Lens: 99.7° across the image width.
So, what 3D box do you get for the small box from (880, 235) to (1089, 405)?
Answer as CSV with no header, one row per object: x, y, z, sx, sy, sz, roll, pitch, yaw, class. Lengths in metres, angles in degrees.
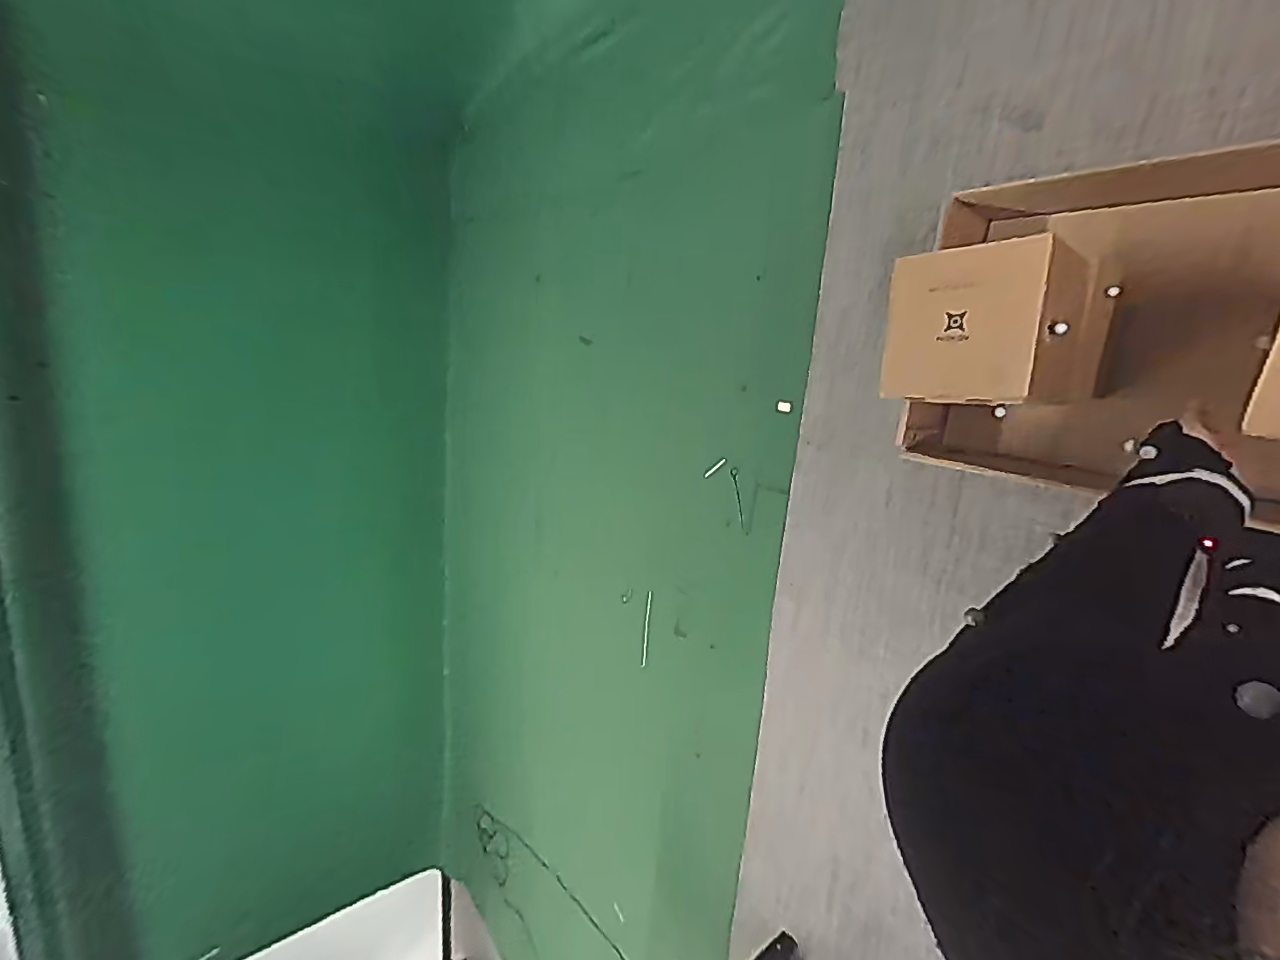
0.429,-0.186,0.675,0.168,0.176,0.179,14,105,49,small box
